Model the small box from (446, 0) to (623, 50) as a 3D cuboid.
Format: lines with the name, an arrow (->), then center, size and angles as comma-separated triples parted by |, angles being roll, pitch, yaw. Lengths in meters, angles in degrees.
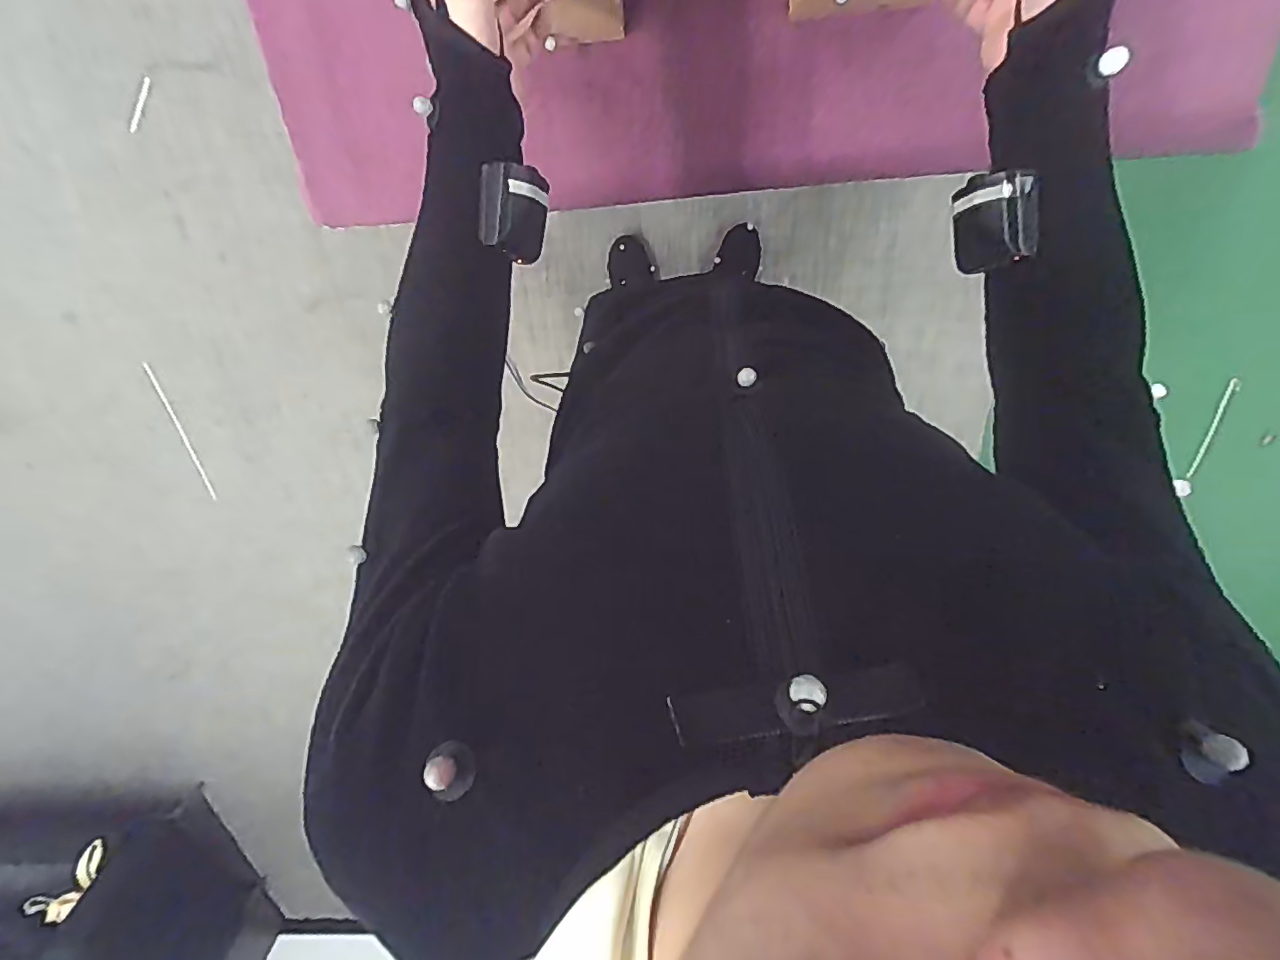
small box -> -0.108, -0.565, 0.540 | 0.168, 0.176, 0.179 | -2, 117, 4
